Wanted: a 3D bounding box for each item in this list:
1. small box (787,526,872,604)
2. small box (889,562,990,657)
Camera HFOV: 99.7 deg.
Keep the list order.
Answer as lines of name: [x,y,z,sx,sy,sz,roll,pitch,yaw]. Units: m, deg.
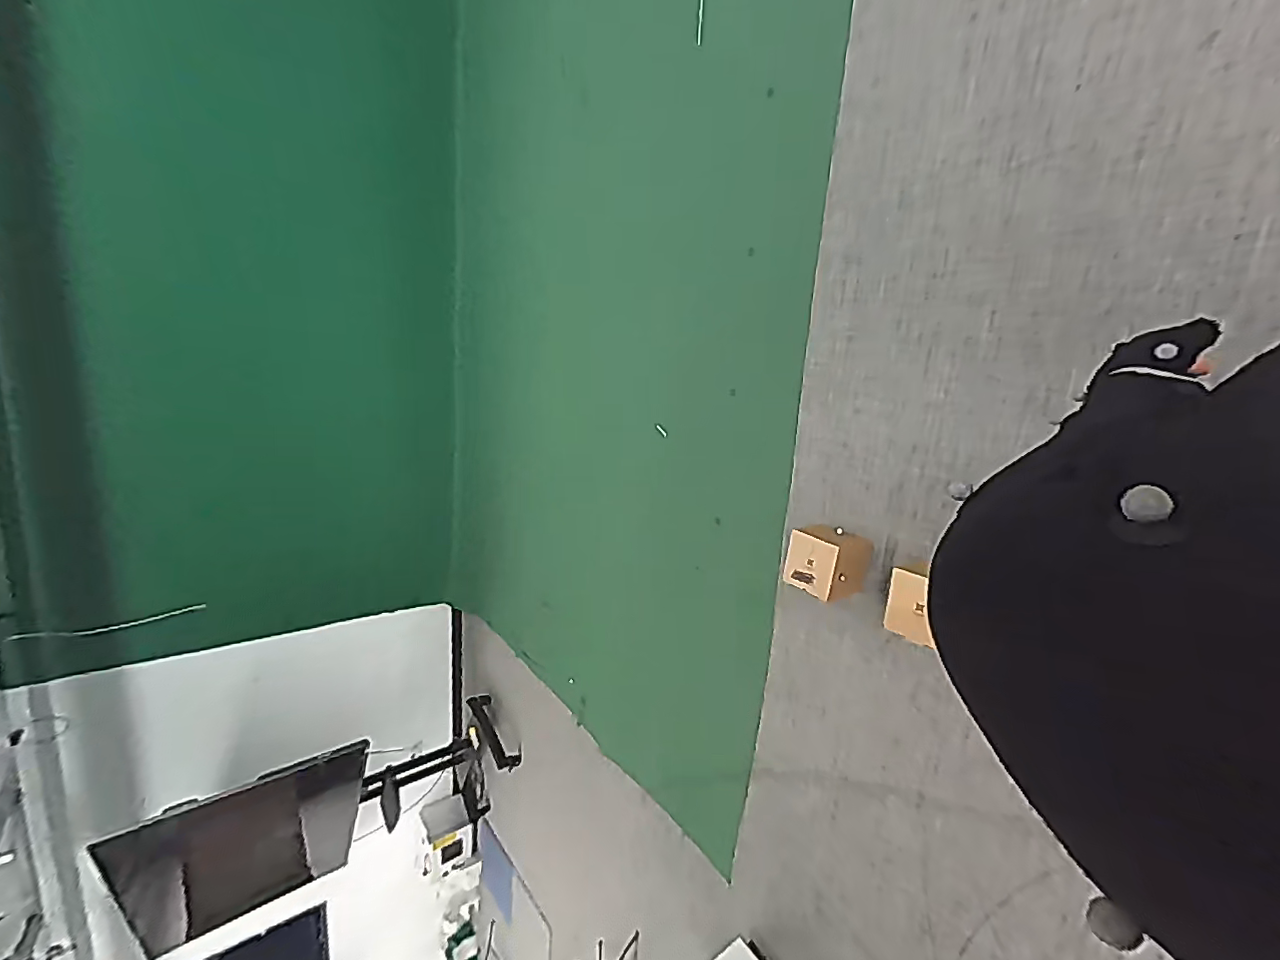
small box: [0.576,0.251,1.642,0.168,0.176,0.179,23,110,49]
small box: [0.773,0.323,1.392,0.168,0.176,0.179,17,107,51]
